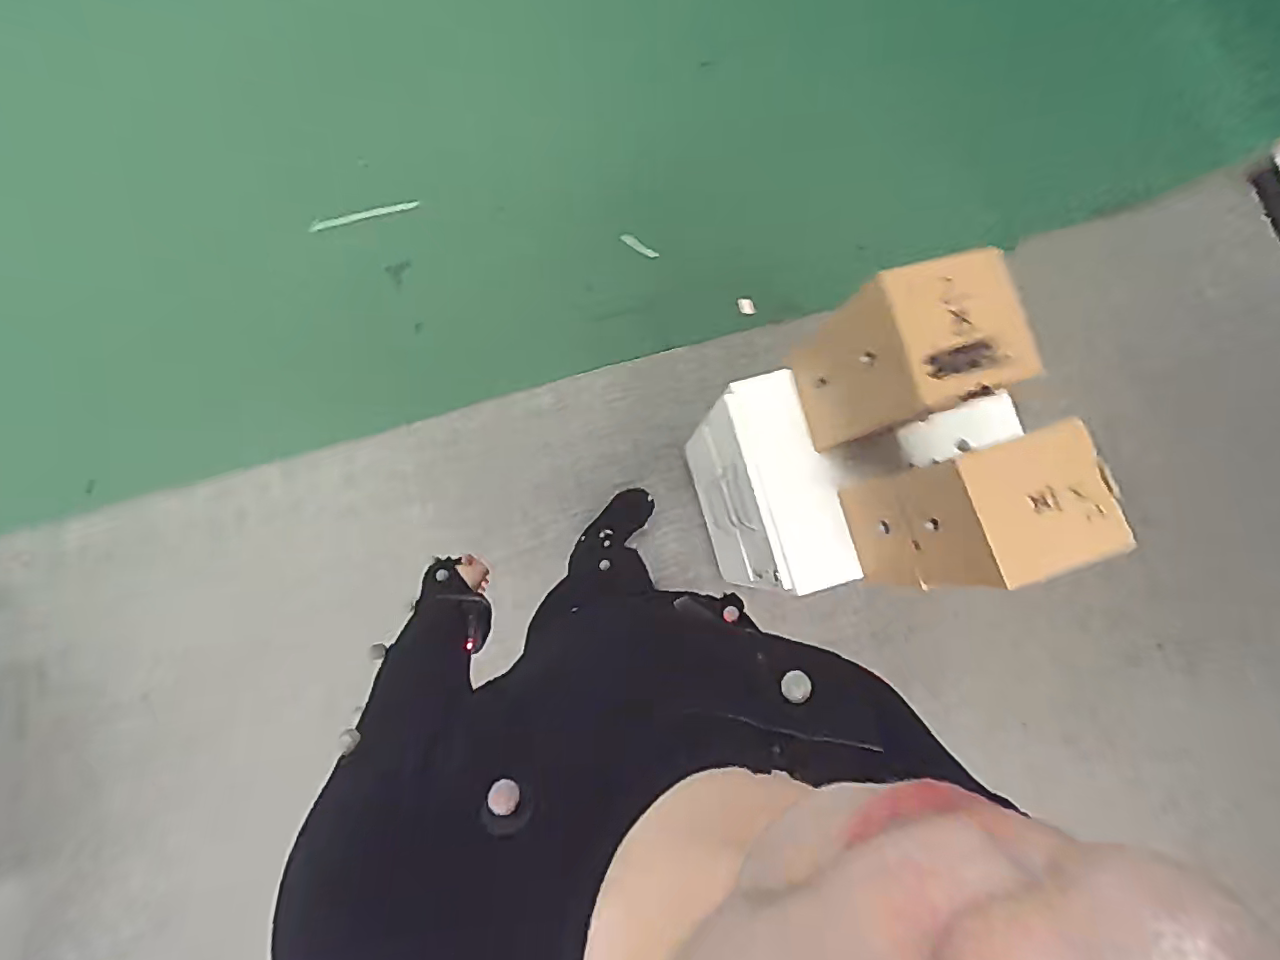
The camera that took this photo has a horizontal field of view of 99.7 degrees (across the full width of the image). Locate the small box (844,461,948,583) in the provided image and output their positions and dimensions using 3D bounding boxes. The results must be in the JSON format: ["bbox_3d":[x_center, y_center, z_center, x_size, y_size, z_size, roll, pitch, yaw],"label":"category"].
[{"bbox_3d":[0.460,0.062,0.881,0.168,0.176,0.179,-14,83,-6],"label":"small box"}]

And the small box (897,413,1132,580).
[{"bbox_3d":[0.473,0.030,0.720,0.179,0.176,0.168,-16,83,-6],"label":"small box"}]

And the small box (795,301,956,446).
[{"bbox_3d":[0.382,-0.171,0.910,0.168,0.176,0.179,-14,85,-6],"label":"small box"}]
